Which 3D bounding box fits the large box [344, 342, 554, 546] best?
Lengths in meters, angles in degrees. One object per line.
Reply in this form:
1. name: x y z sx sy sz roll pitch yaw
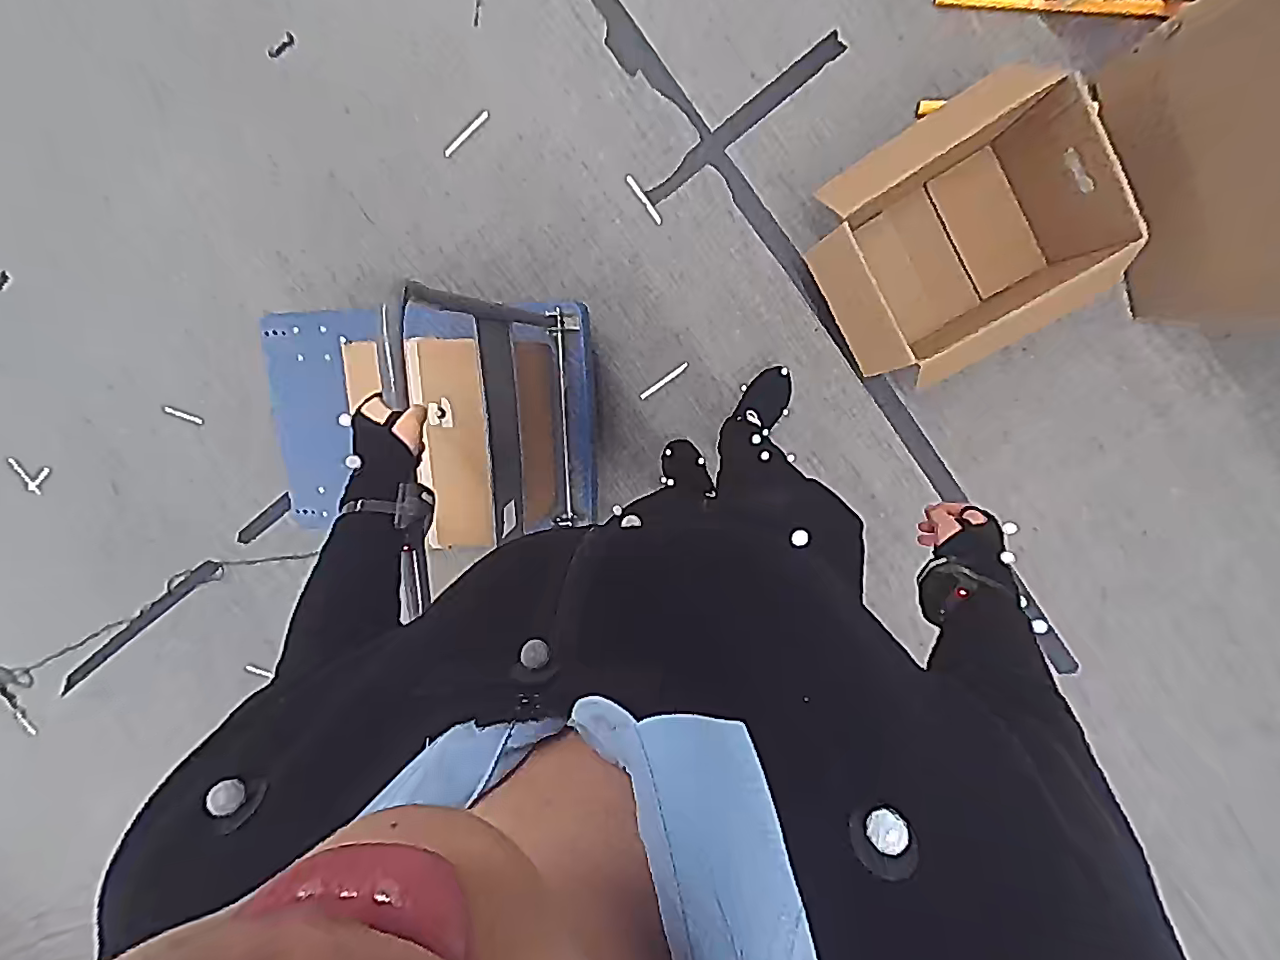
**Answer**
1. large box: -0.396 -0.090 1.207 0.320 0.320 0.408 1 101 9
